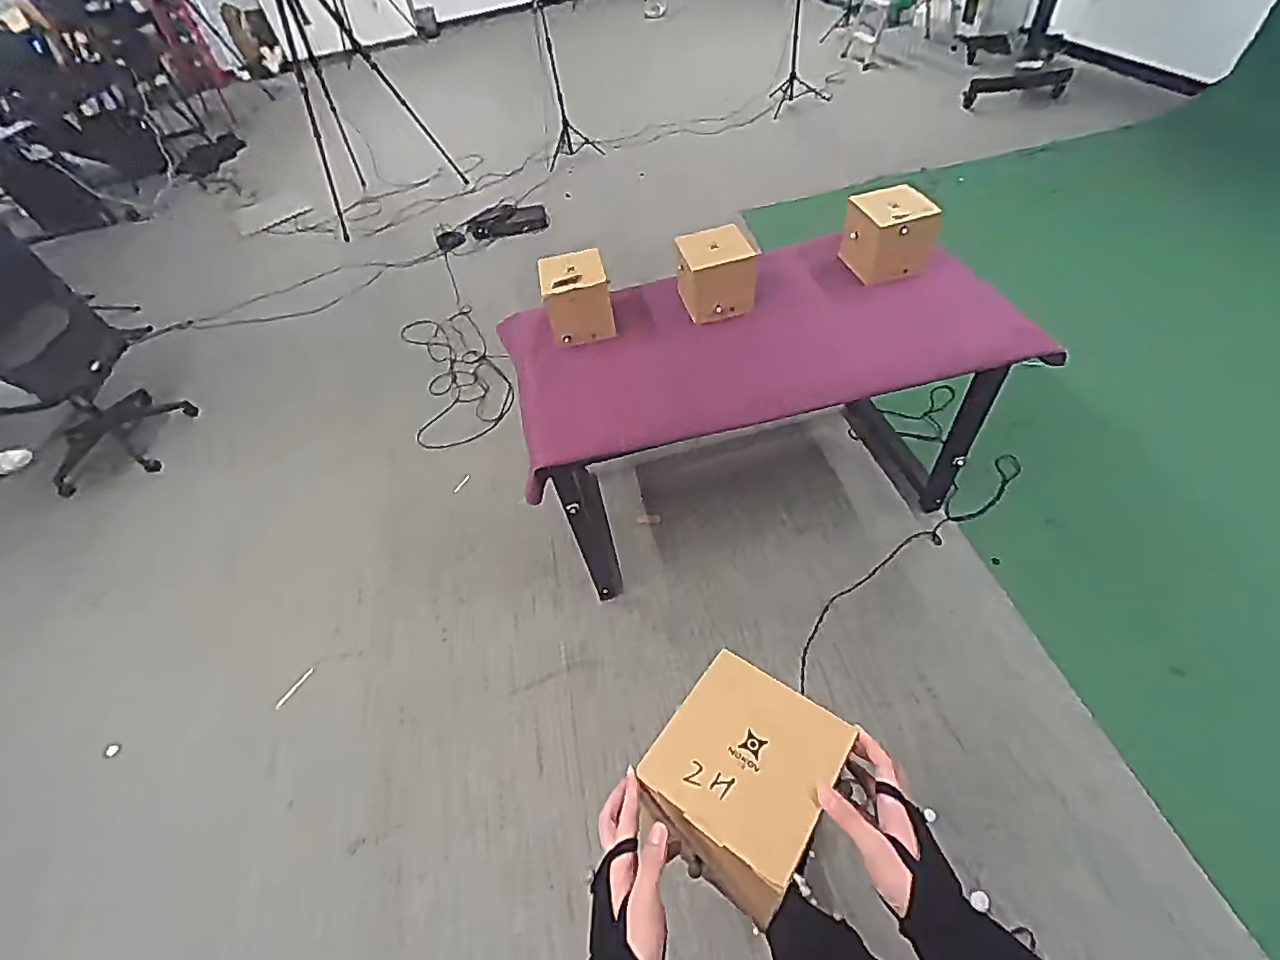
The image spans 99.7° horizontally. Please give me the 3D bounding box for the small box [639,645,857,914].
[{"bbox_3d":[0.116,0.331,0.607,0.168,0.176,0.179,25,50,30],"label":"small box"}]

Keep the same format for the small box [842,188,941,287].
[{"bbox_3d":[0.660,-0.645,1.446,0.168,0.176,0.179,-15,50,-2],"label":"small box"}]

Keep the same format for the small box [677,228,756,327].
[{"bbox_3d":[0.200,-0.537,1.440,0.168,0.176,0.179,-14,51,-1],"label":"small box"}]

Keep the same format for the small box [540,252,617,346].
[{"bbox_3d":[-0.163,-0.477,1.448,0.168,0.176,0.179,-12,51,-1],"label":"small box"}]
